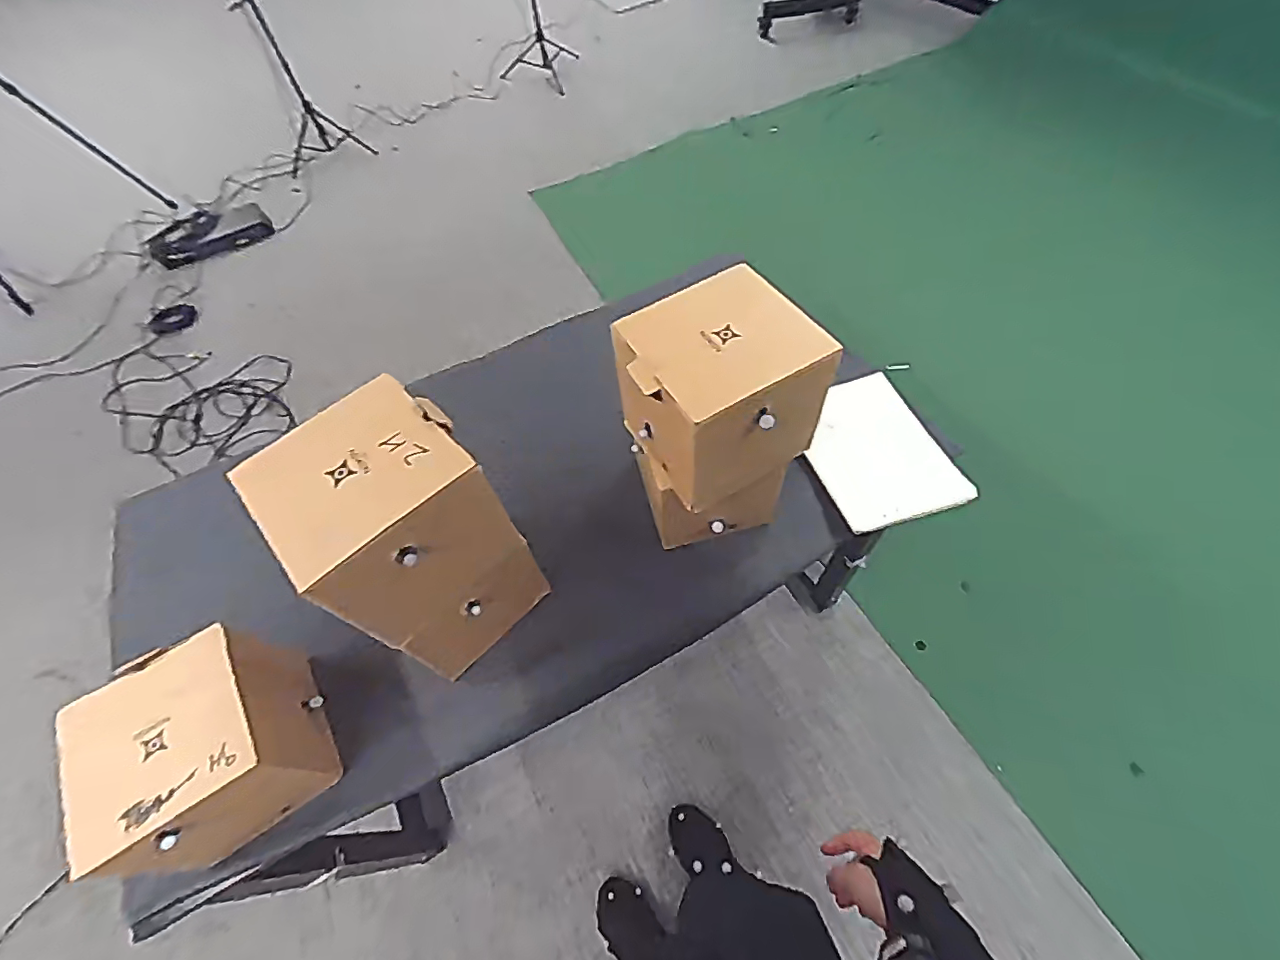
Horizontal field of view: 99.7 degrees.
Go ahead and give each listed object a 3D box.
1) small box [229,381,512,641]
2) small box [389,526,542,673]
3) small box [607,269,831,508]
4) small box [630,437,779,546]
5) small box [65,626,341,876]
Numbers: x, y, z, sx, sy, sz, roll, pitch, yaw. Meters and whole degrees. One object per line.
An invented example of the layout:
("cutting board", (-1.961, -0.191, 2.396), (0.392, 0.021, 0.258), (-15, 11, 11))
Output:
("small box", (-0.263, 0.039, 0.566), (0.179, 0.176, 0.168), (-40, 64, -19))
("small box", (-0.253, 0.123, 0.707), (0.168, 0.176, 0.179), (38, 68, 23))
("small box", (0.082, -0.100, 0.622), (0.179, 0.176, 0.168), (-29, 60, -12))
("small box", (0.079, -0.031, 0.772), (0.168, 0.176, 0.179), (-14, 58, -3))
("small box", (-0.478, 0.303, 0.611), (0.168, 0.176, 0.179), (-32, 61, -15))
